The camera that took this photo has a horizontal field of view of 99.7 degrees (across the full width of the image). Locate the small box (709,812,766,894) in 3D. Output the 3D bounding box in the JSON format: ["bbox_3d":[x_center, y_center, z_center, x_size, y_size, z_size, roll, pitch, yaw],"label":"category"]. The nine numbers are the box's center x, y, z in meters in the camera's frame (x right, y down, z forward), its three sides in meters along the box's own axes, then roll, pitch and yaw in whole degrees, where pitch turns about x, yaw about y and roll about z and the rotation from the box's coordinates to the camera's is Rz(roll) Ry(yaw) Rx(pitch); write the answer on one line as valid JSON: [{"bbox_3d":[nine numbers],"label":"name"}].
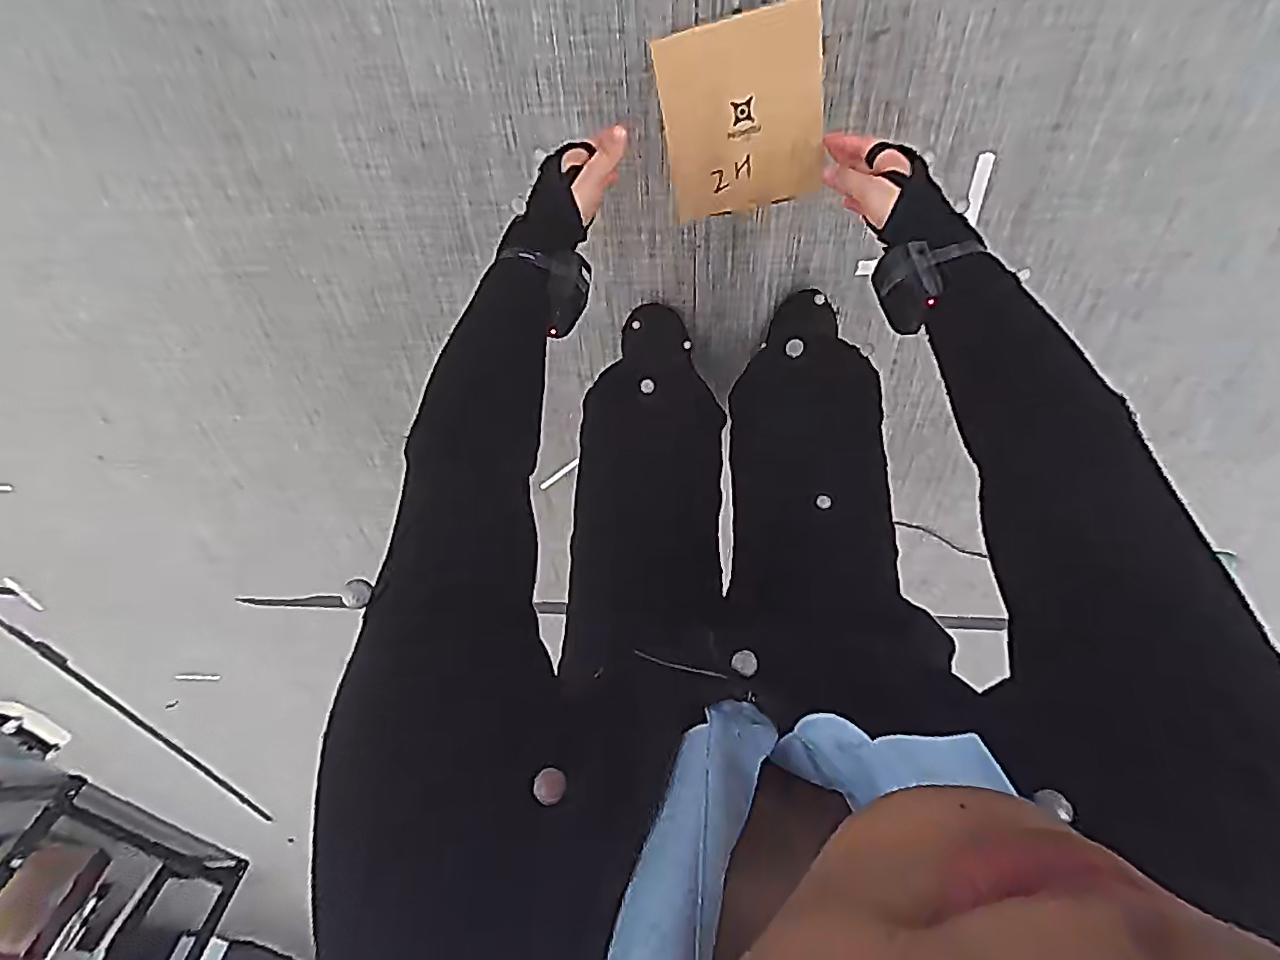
[{"bbox_3d":[0.304,1.172,1.701,0.168,0.176,0.179,-4,129,8],"label":"small box"}]

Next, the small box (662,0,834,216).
[{"bbox_3d":[0.123,-0.435,0.627,0.168,0.176,0.179,-8,129,12],"label":"small box"}]
